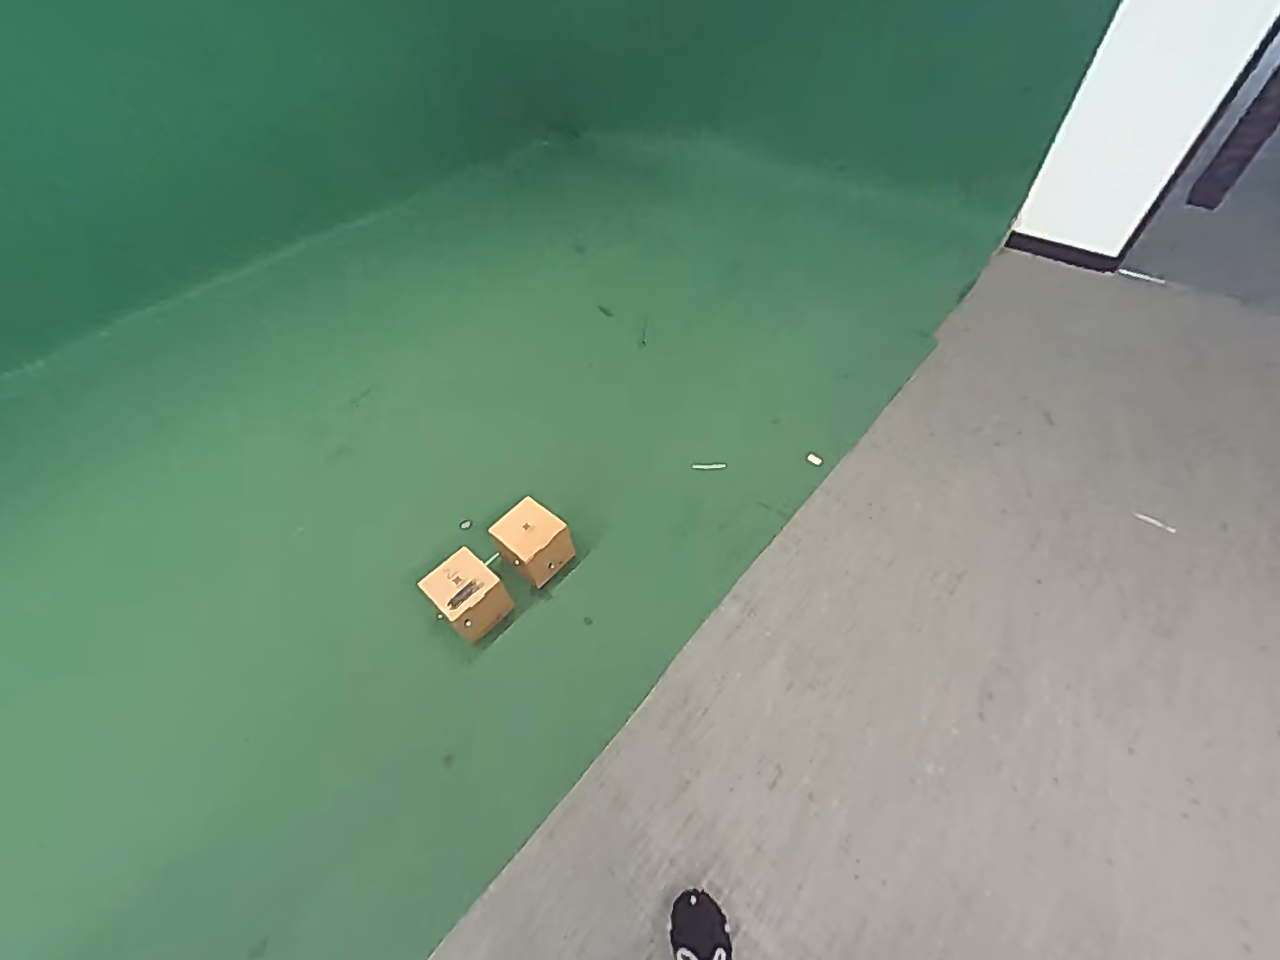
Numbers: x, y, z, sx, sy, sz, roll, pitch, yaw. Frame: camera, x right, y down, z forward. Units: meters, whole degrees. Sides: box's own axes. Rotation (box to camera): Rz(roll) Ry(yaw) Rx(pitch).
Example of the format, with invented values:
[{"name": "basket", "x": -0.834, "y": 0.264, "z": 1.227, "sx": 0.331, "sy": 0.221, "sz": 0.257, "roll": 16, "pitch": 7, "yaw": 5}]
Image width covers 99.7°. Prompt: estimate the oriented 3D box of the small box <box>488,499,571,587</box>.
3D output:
[{"name": "small box", "x": -0.334, "y": 0.198, "z": 1.664, "sx": 0.179, "sy": 0.176, "sz": 0.168, "roll": 33, "pitch": 59, "yaw": 25}]
